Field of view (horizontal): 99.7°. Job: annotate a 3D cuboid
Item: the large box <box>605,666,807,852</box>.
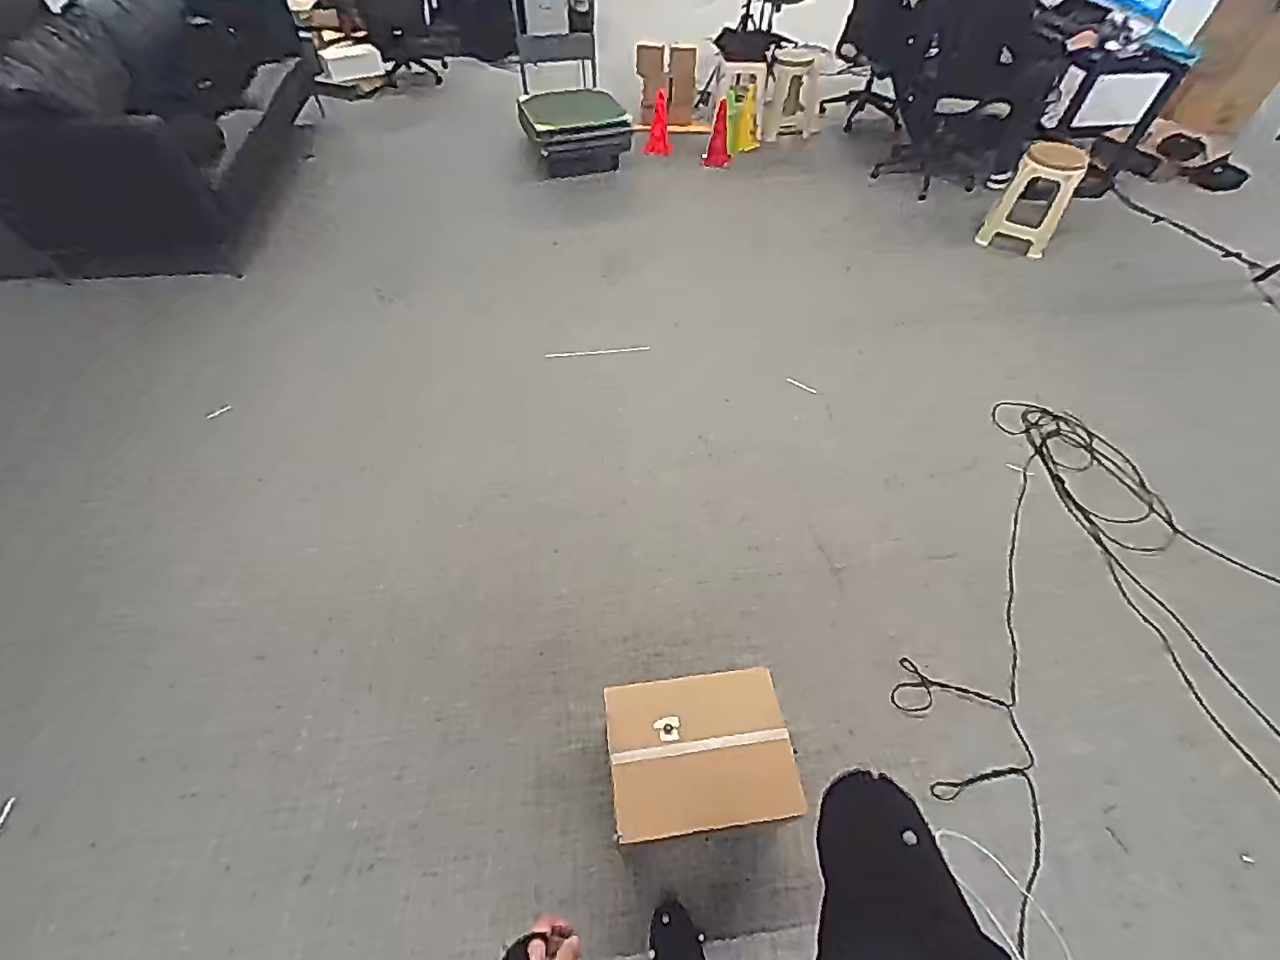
[{"bbox_3d":[0.137,0.689,1.328,0.408,0.320,0.320,-7,52,-5],"label":"large box"}]
